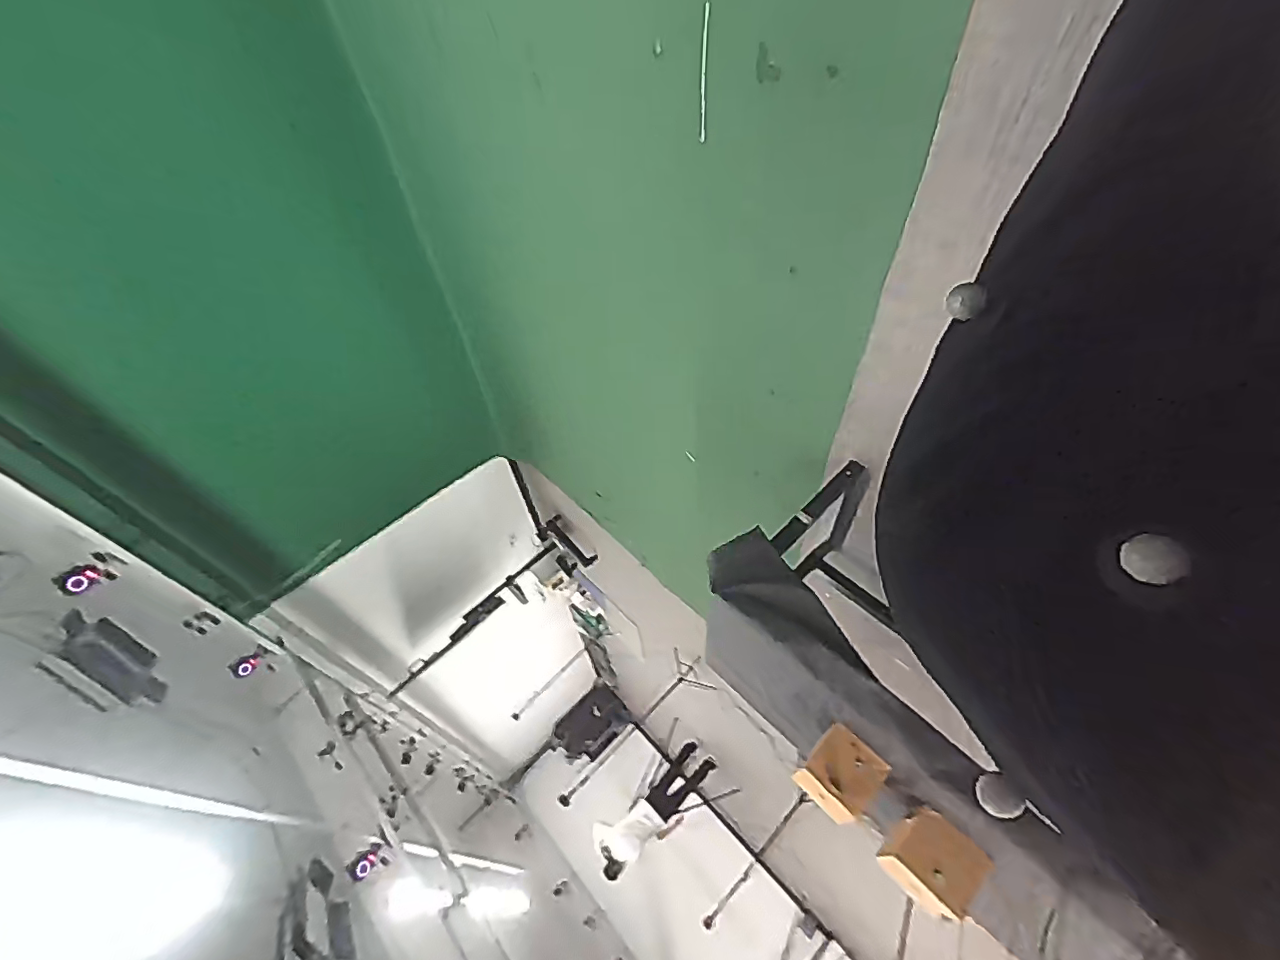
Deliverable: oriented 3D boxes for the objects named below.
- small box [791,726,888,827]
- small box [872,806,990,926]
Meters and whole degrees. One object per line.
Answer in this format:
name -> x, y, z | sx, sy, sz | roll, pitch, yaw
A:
small box -> 0.545, 0.809, 1.480 | 0.168, 0.176, 0.179 | 40, 154, 27
small box -> 0.730, 0.964, 1.359 | 0.179, 0.176, 0.168 | 41, 154, 27
